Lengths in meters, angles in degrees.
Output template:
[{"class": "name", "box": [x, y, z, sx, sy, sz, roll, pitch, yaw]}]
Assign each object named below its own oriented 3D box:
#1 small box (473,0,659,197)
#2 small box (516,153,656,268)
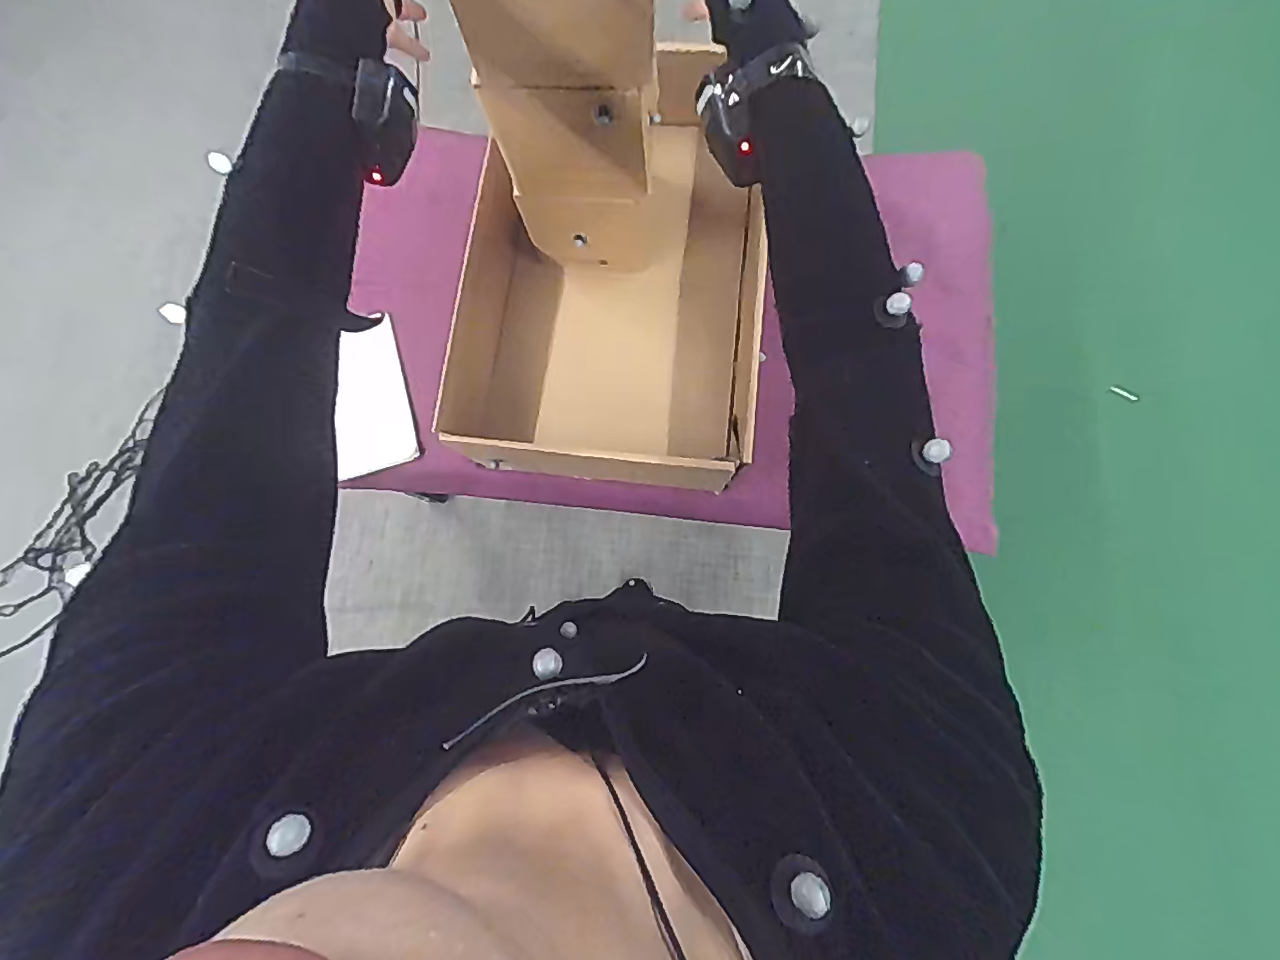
[{"class": "small box", "box": [-0.072, -0.457, 0.631, 0.179, 0.176, 0.168, 4, 81, 4]}, {"class": "small box", "box": [-0.068, -0.433, 0.790, 0.168, 0.176, 0.179, 6, 81, 4]}]
